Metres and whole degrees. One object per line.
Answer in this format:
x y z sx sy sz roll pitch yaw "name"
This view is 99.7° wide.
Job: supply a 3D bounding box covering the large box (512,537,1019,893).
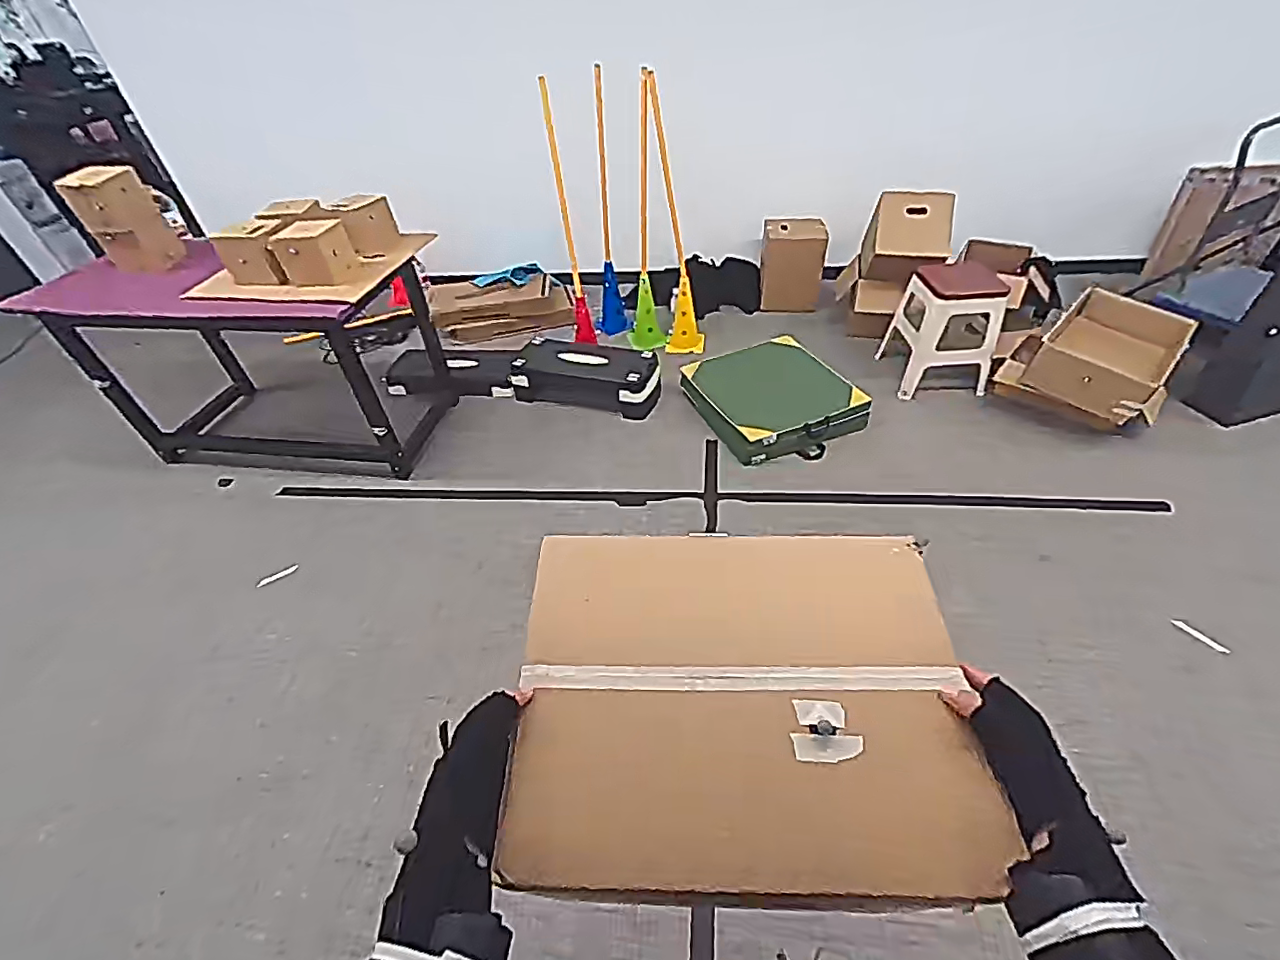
0.100 0.278 0.627 0.408 0.320 0.320 0 52 2 "large box"
